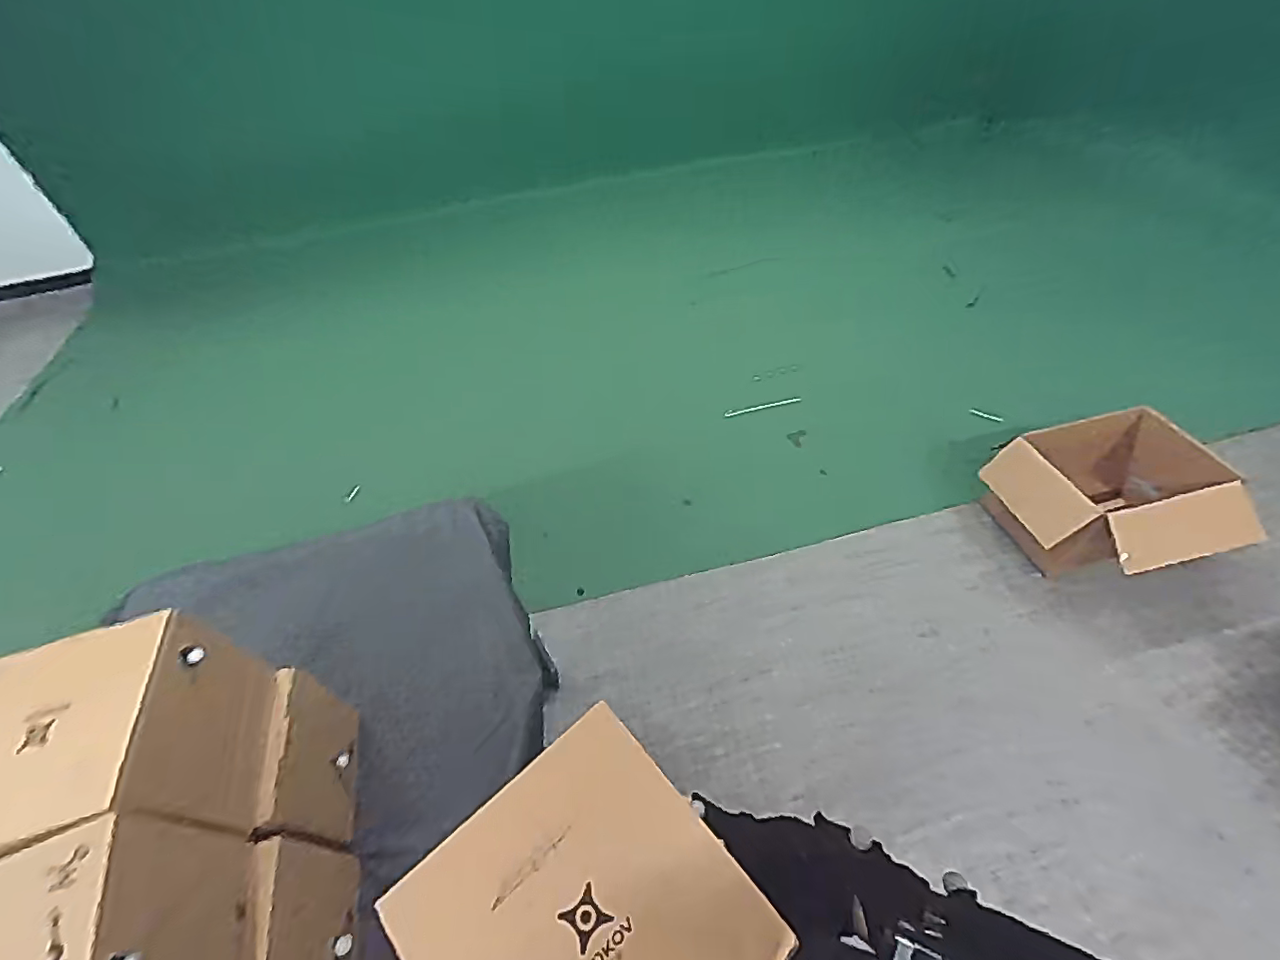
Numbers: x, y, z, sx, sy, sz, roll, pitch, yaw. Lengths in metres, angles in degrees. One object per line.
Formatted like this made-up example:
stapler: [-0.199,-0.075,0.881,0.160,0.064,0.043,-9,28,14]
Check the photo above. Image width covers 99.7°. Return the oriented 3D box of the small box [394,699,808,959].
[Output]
small box: [-0.028,0.287,0.363,0.168,0.176,0.179,-33,64,-28]

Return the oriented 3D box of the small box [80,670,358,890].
small box: [-0.462,0.353,0.631,0.179,0.176,0.168,-15,51,-7]
